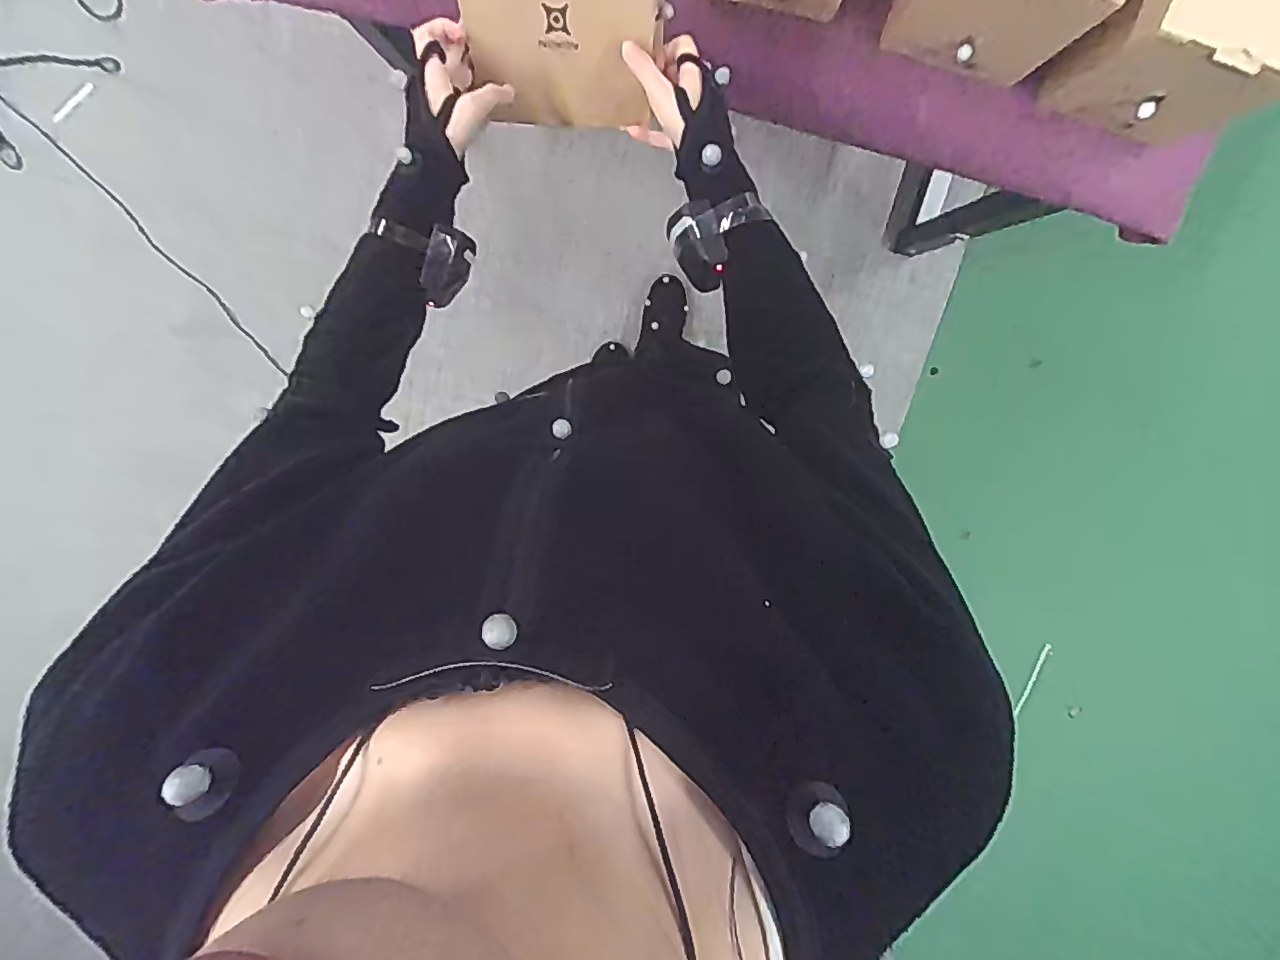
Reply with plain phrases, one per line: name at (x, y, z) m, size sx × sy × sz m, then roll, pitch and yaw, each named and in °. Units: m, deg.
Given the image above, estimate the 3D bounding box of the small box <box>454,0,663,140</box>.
small box at (-0.065, -0.454, 0.494) m, size 0.168 × 0.179 × 0.176 m, roll 5°, pitch 65°, yaw 2°
